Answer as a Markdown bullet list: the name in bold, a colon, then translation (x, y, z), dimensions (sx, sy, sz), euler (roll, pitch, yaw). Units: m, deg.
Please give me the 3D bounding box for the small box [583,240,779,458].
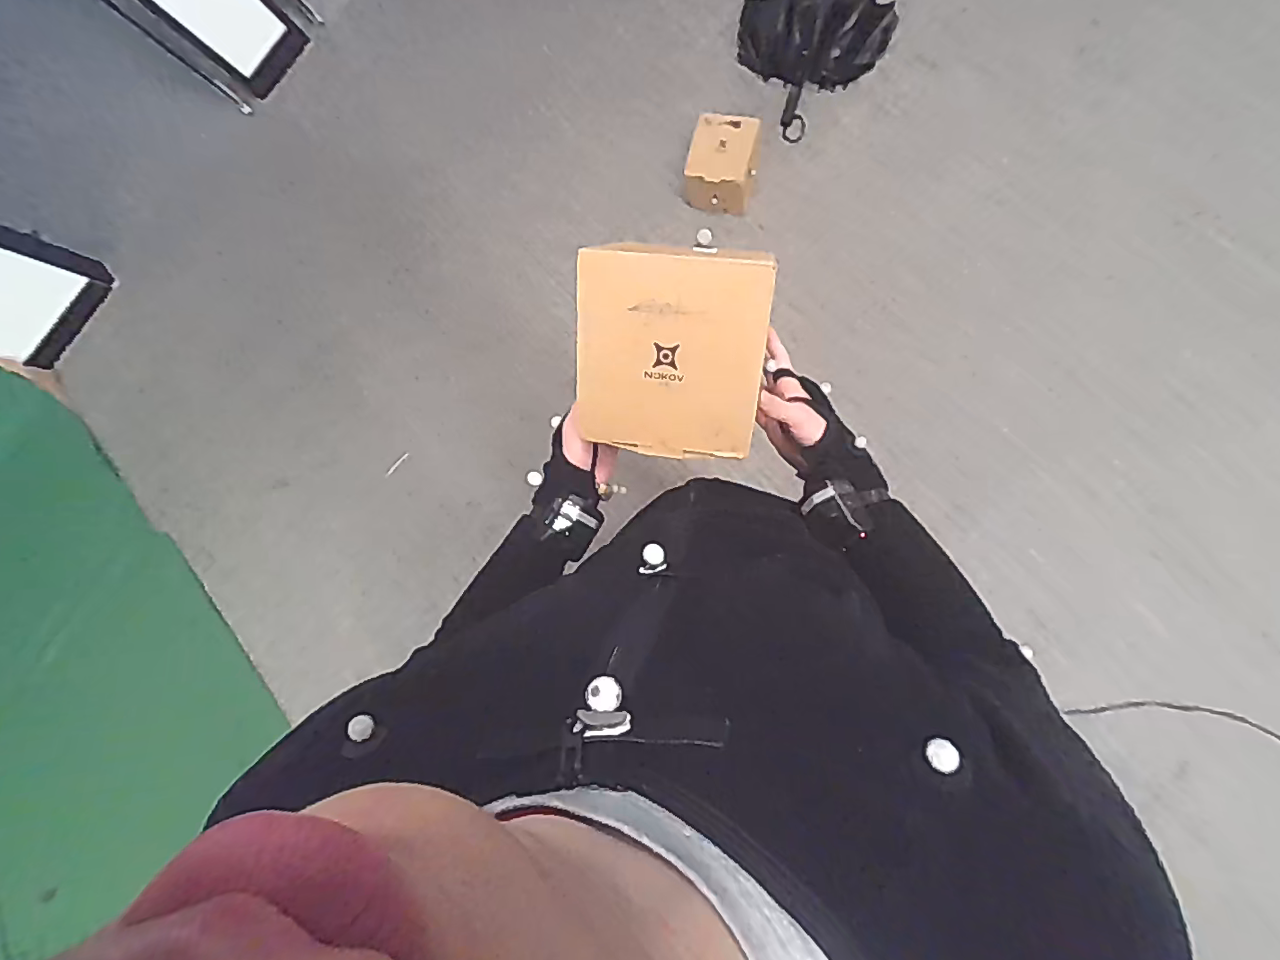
- **small box**: translation (0.044, -0.142, 0.551), dimensions (0.168, 0.176, 0.179), euler (7, 116, 8)
